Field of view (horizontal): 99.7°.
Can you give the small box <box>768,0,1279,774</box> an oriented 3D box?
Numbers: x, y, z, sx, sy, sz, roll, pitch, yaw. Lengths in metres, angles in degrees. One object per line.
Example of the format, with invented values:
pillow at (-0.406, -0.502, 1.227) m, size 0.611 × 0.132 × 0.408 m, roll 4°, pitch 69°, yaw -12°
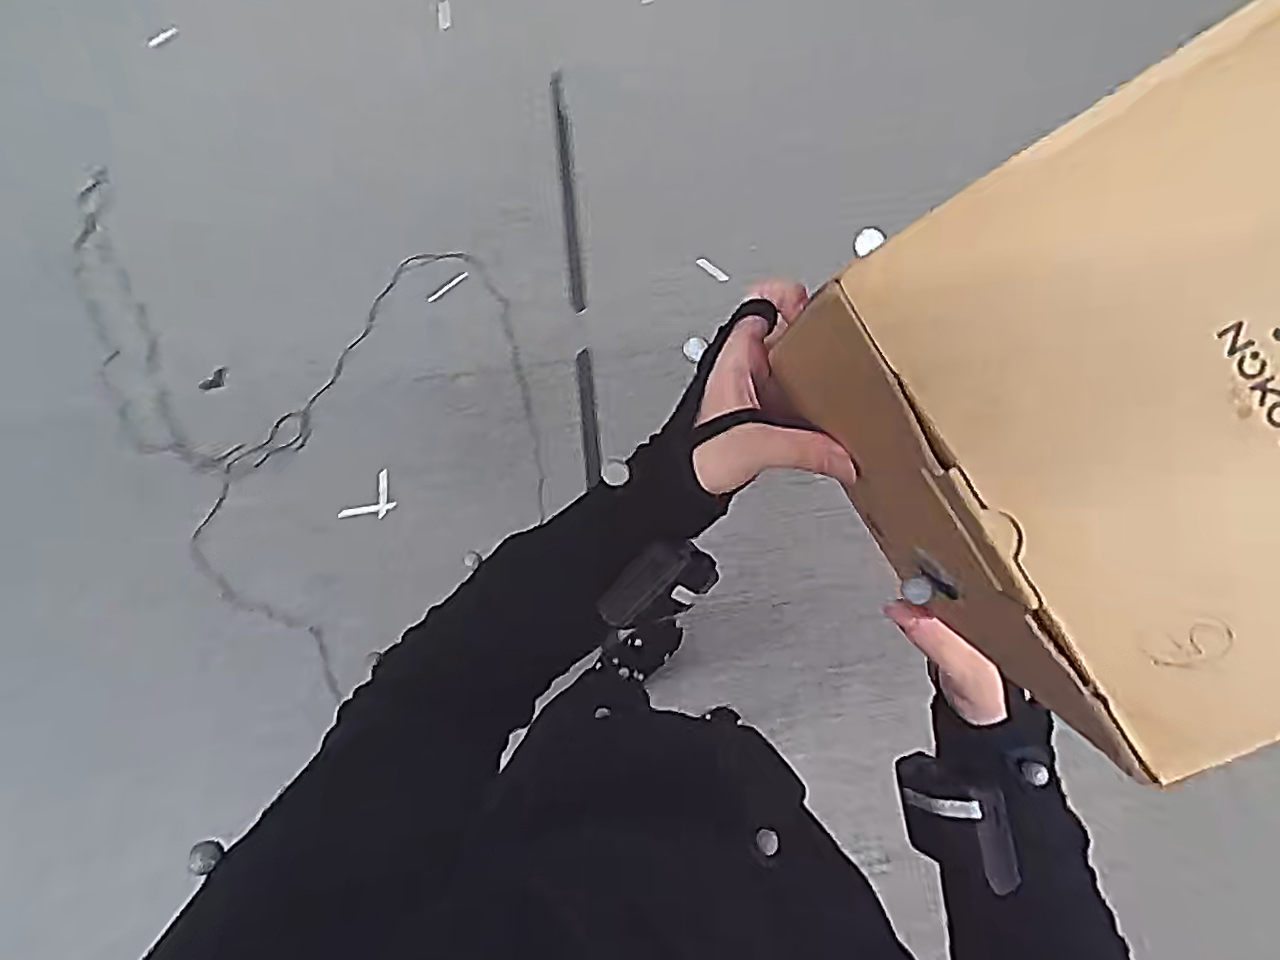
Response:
small box at (0.169, -0.033, 0.224) m, size 0.179 × 0.176 × 0.168 m, roll -34°, pitch 92°, yaw 7°
